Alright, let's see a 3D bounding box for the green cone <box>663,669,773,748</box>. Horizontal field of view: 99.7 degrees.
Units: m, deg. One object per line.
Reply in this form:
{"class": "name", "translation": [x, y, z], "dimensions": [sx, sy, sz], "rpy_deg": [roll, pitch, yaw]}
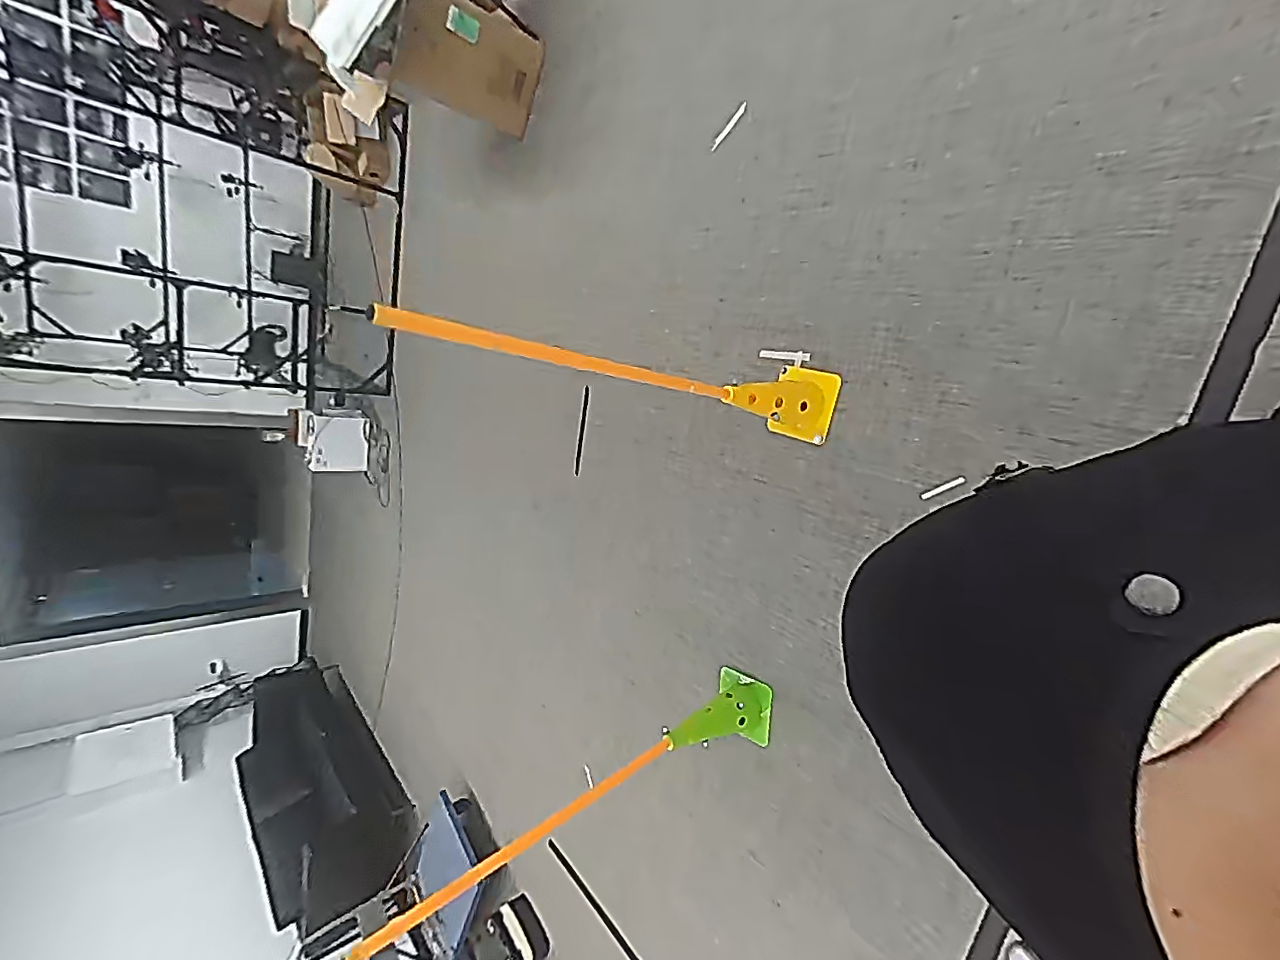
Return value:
{"class": "green cone", "translation": [0.211, 0.729, 1.619], "dimensions": [0.200, 0.368, 0.202], "rpy_deg": [8, 95, 47]}
